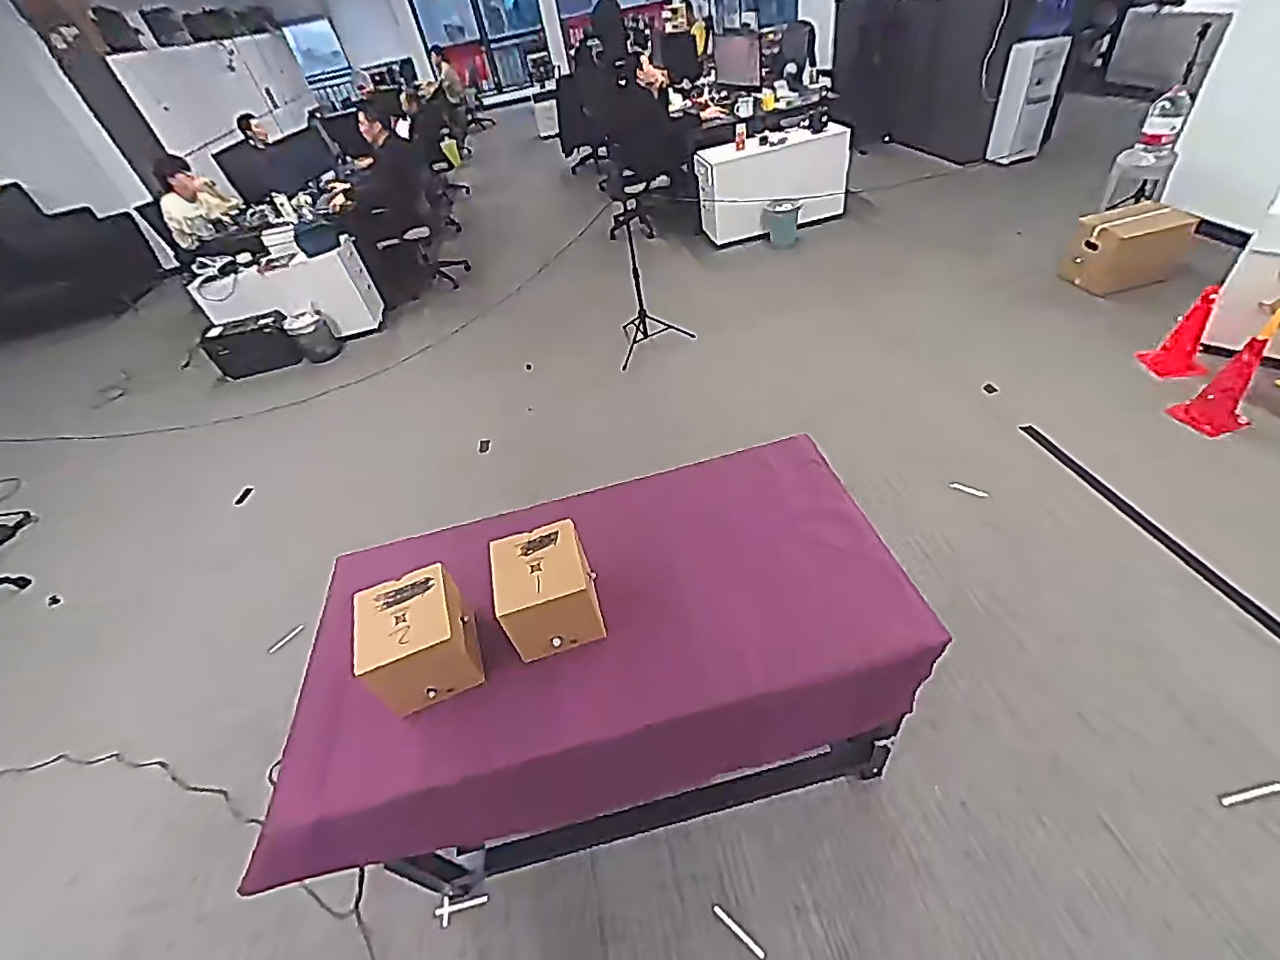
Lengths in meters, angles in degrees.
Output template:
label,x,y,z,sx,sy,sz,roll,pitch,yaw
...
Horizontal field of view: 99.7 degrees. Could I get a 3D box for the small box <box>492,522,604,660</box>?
label,x,y,z,sx,sy,sz,roll,pitch,yaw
small box,-0.178,0.216,1.052,0.168,0.176,0.179,-17,44,-4
